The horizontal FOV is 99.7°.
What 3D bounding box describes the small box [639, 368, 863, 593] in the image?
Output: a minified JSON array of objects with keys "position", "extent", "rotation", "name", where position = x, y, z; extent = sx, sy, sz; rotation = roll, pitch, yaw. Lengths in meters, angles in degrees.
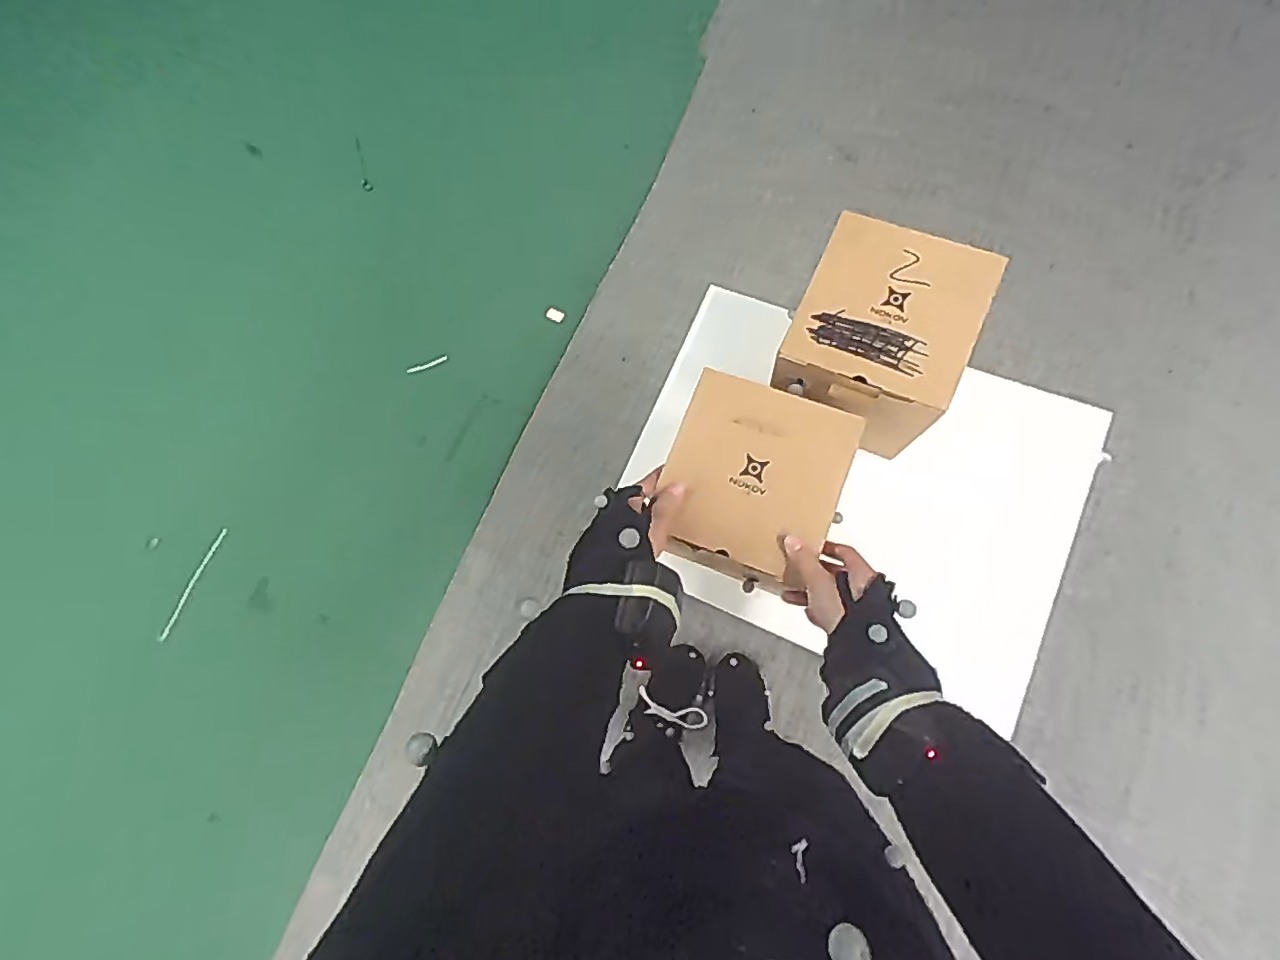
[{"position":[0.114,0.013,0.586],"extent":[0.168,0.176,0.179],"rotation":[21,78,11],"name":"small box"}]
